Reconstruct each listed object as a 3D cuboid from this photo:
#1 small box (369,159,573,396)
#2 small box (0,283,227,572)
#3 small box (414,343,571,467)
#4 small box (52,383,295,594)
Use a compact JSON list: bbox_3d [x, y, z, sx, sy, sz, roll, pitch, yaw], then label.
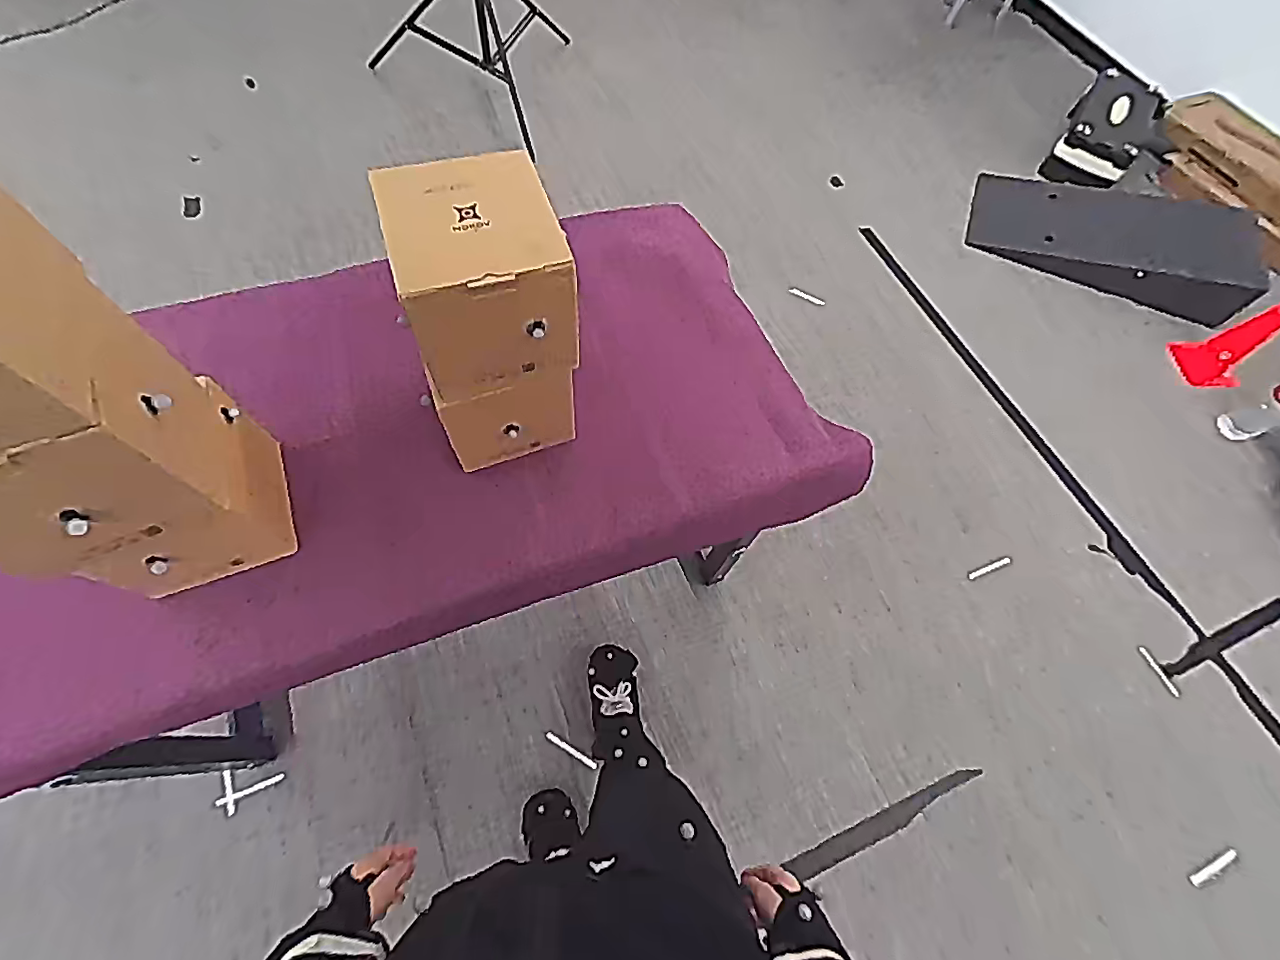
[{"bbox_3d":[-0.175,-0.213,0.602,0.168,0.176,0.179,-17,66,-14],"label":"small box"},{"bbox_3d":[-0.515,-0.034,0.484,0.168,0.176,0.179,-24,69,-16],"label":"small box"},{"bbox_3d":[-0.198,-0.136,0.743,0.168,0.176,0.179,-19,67,-14],"label":"small box"},{"bbox_3d":[-0.540,0.021,0.638,0.168,0.176,0.179,-20,67,-14],"label":"small box"}]
